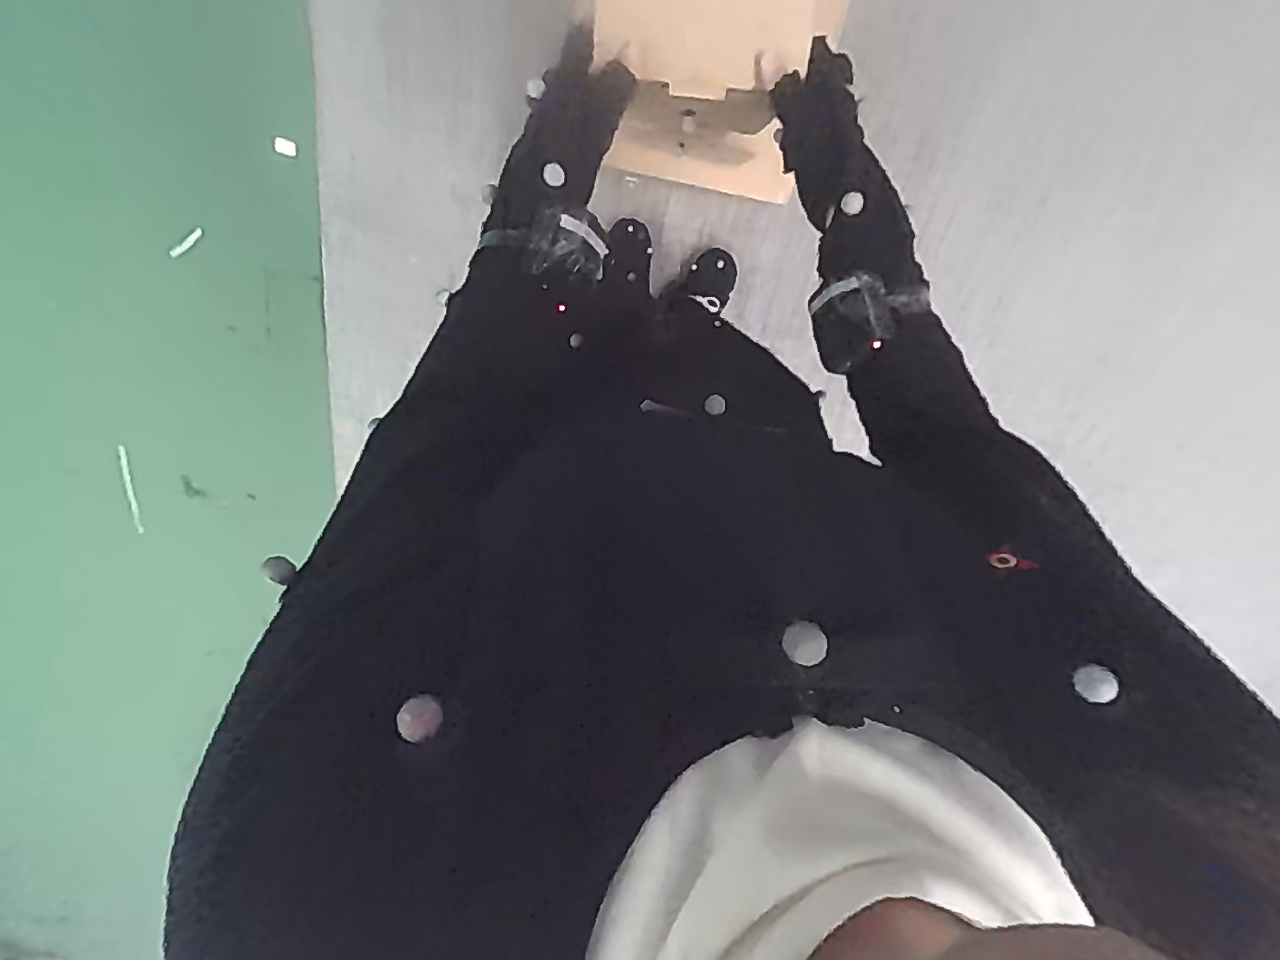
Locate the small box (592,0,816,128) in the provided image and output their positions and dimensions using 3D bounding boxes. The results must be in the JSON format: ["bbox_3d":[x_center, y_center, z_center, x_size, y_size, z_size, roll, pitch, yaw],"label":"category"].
[{"bbox_3d":[0.052,-0.412,0.455,0.168,0.176,0.179,3,115,0],"label":"small box"}]

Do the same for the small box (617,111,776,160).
[{"bbox_3d":[0.082,-0.497,0.655,0.179,0.176,0.168,13,118,2],"label":"small box"}]
